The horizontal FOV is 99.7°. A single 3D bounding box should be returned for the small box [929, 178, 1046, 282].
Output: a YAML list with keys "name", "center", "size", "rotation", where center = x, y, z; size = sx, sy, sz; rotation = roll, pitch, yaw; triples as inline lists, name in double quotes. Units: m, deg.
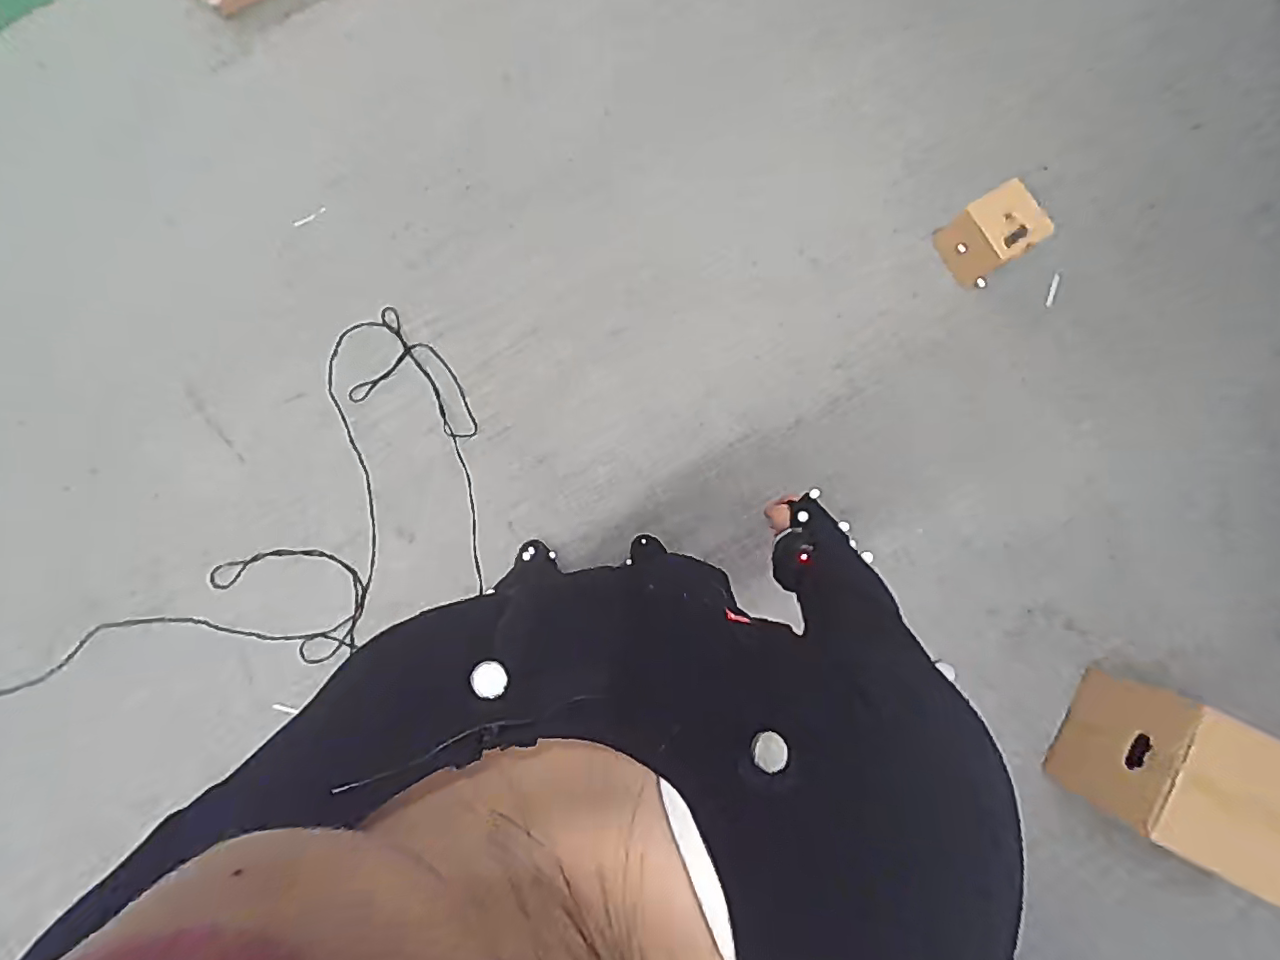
- name: "small box"
  center: [0.939, -0.669, 1.478]
  size: [0.168, 0.176, 0.179]
  rotation: [-31, 86, -2]
